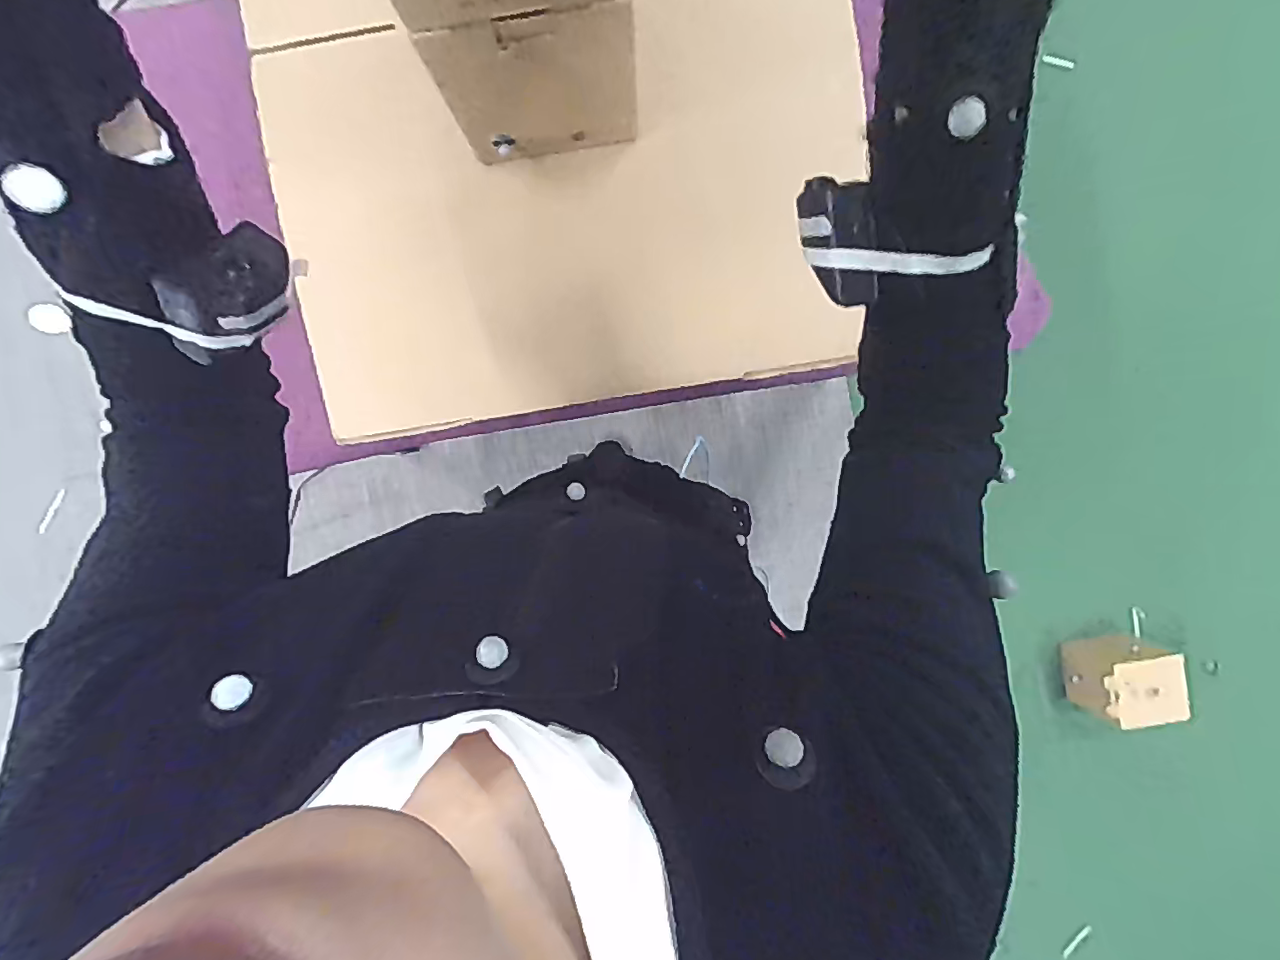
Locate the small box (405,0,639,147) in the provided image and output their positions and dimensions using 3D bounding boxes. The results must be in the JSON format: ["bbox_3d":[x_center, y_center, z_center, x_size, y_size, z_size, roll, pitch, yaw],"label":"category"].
[{"bbox_3d":[-0.094,-0.417,0.463,0.168,0.176,0.179,-8,91,2],"label":"small box"}]

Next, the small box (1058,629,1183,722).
[{"bbox_3d":[1.242,0.500,1.405,0.179,0.176,0.168,-9,94,1],"label":"small box"}]
